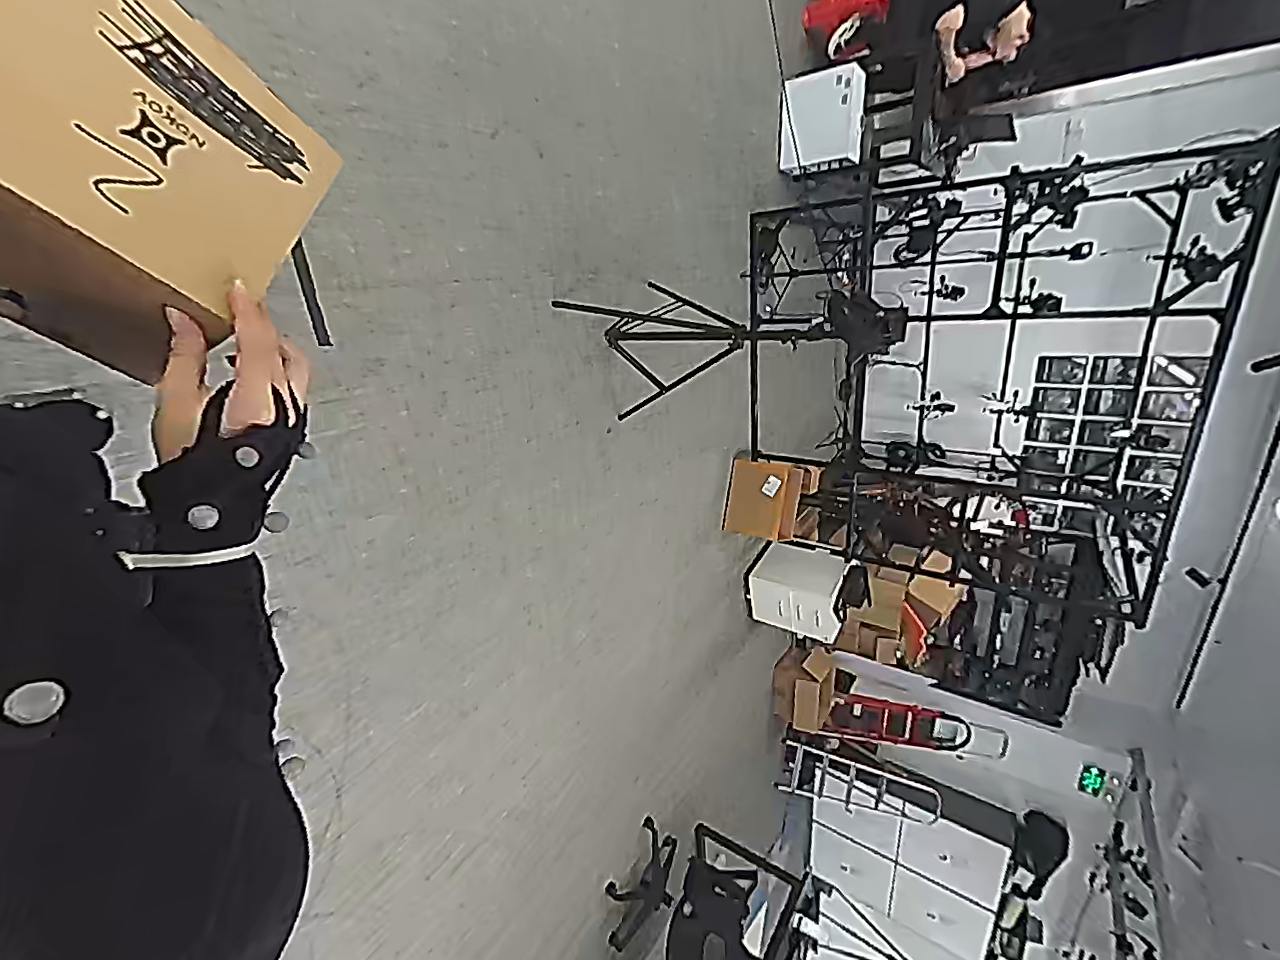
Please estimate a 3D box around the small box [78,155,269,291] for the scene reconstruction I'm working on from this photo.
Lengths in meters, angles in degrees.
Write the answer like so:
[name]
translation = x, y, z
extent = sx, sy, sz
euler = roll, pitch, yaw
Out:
[small box]
translation = -0.765, -0.417, 0.891
extent = 0.168, 0.176, 0.179
euler = -36, 127, -46
